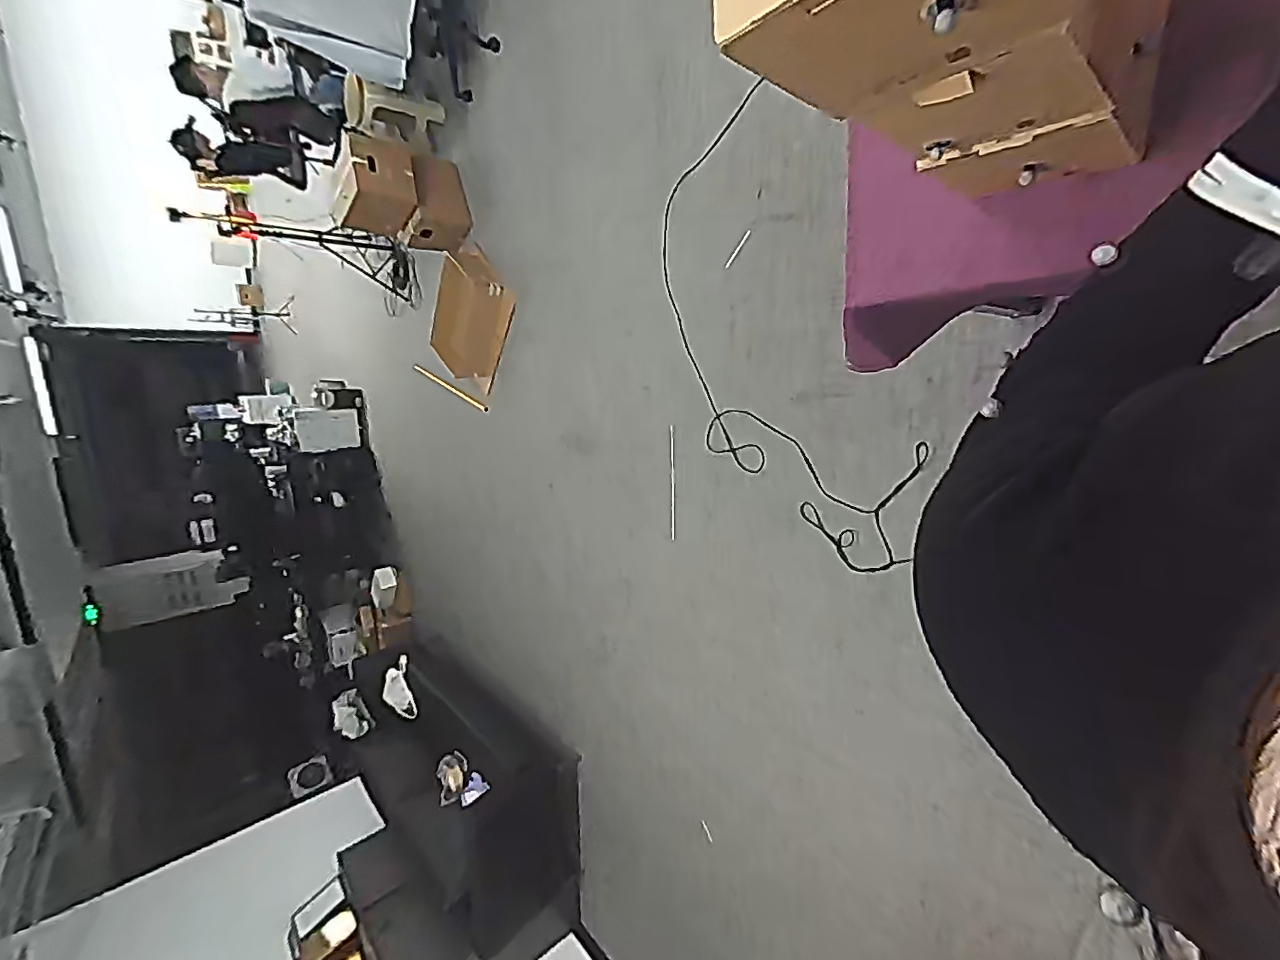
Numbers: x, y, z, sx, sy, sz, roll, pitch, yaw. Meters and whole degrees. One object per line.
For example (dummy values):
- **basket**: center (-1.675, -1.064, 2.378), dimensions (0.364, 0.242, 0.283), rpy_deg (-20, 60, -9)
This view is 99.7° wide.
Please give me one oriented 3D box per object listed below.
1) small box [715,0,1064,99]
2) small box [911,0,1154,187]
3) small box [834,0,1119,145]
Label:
- **small box**: center (0.165, -0.378, 0.343), dimensions (0.168, 0.176, 0.179), rpy_deg (10, 106, 46)
- **small box**: center (0.405, -0.422, 0.561), dimensions (0.168, 0.176, 0.179), rpy_deg (12, 108, 46)
- **small box**: center (0.284, -0.405, 0.450), dimensions (0.168, 0.176, 0.179), rpy_deg (14, 108, 46)
